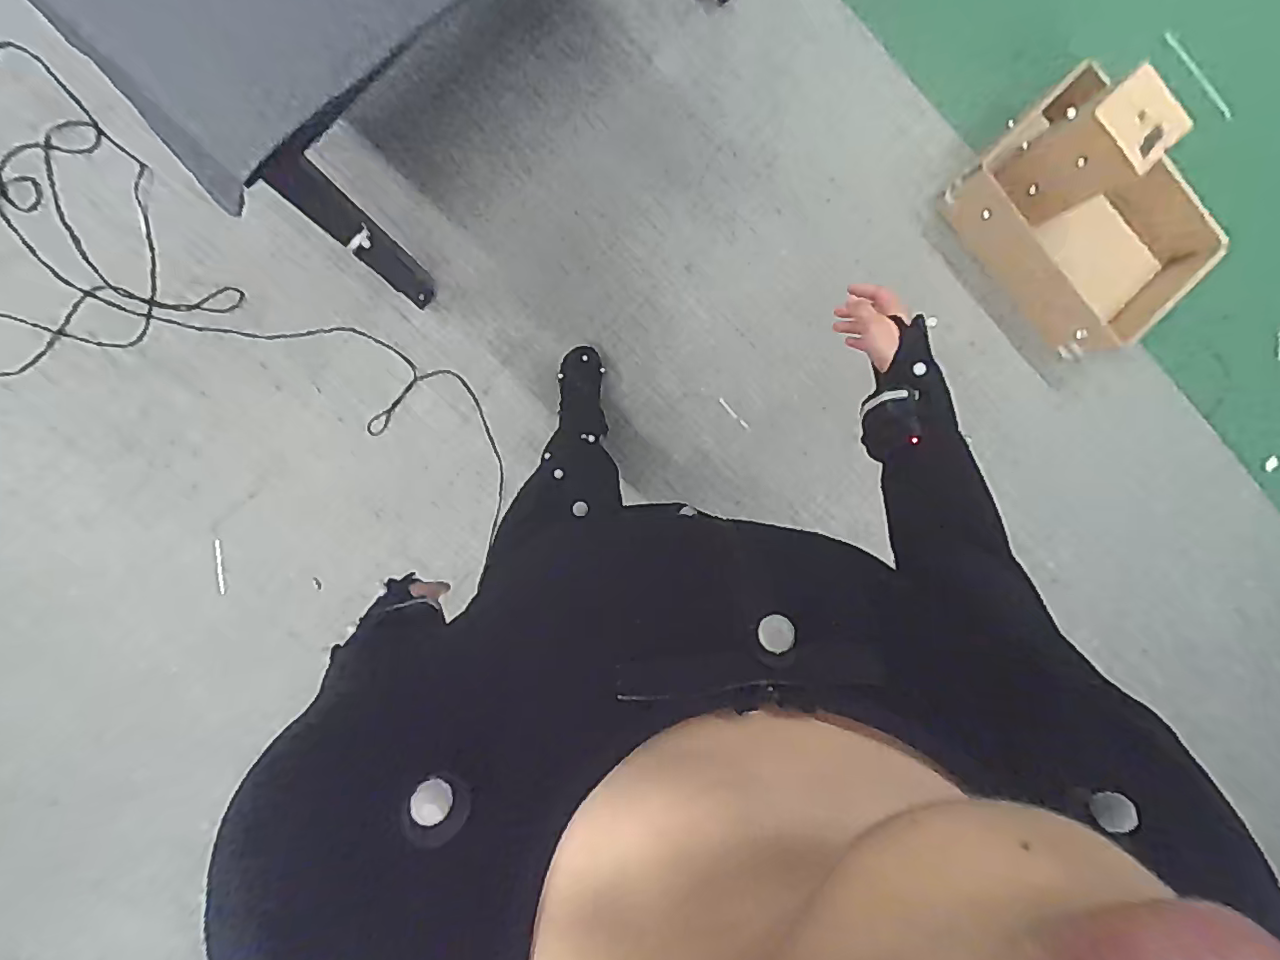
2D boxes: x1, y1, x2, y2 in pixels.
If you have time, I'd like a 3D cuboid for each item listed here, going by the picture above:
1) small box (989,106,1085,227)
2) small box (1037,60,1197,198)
[{"bbox_3d":[1.048,-0.786,1.381,0.168,0.176,0.179,-45,98,0],"label":"small box"},{"bbox_3d":[1.062,-0.771,1.217,0.168,0.176,0.179,-44,97,-1],"label":"small box"}]
